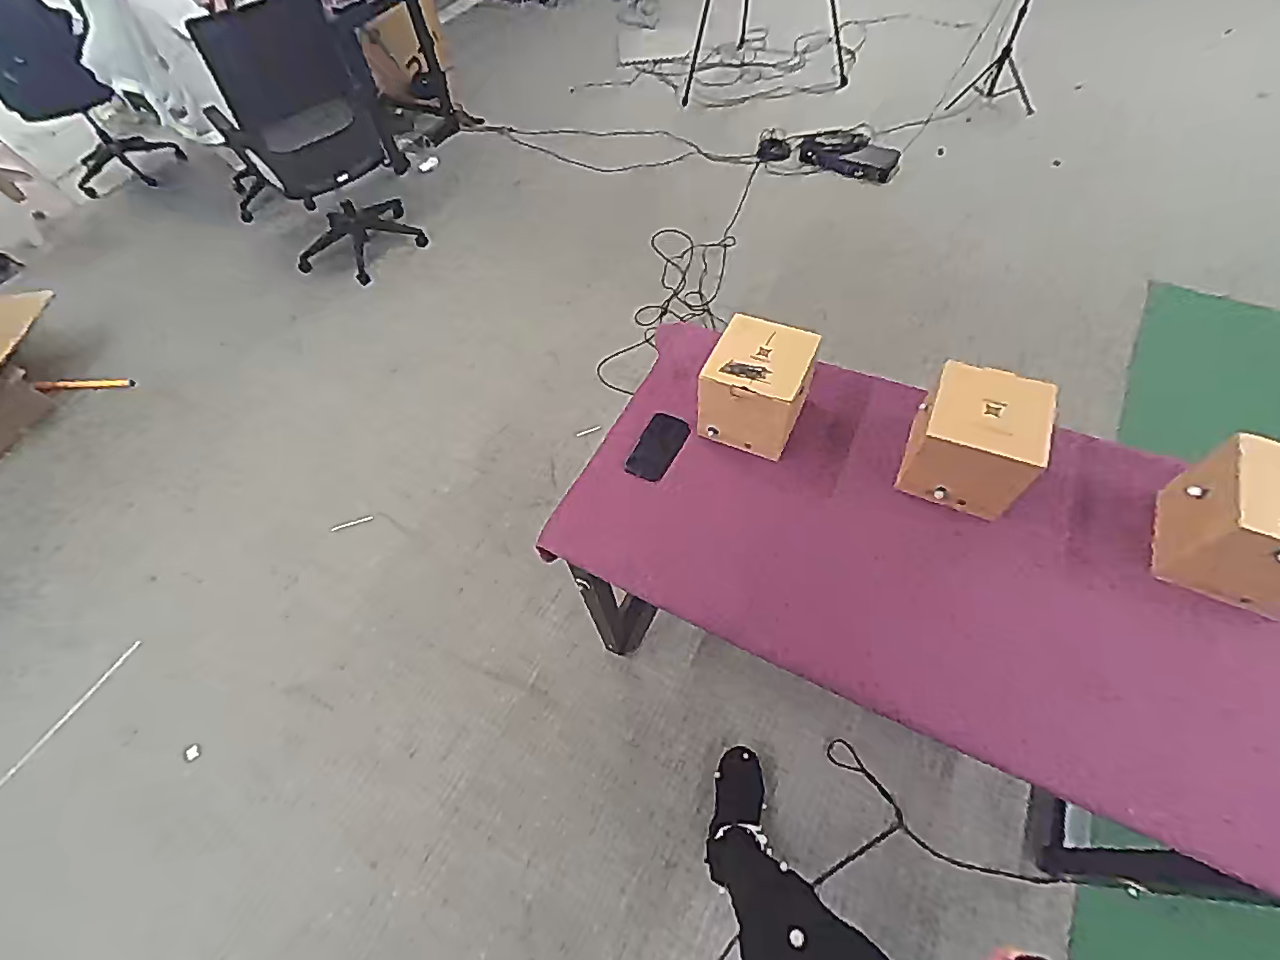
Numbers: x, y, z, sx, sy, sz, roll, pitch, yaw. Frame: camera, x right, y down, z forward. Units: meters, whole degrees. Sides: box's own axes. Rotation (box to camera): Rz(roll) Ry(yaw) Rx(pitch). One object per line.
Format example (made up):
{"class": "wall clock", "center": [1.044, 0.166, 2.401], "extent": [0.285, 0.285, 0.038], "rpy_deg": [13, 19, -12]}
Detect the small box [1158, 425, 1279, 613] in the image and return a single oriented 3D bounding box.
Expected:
{"class": "small box", "center": [0.894, 0.058, 0.772], "extent": [0.168, 0.176, 0.179], "rpy_deg": [21, 62, 20]}

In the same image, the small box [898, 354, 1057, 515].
{"class": "small box", "center": [0.550, -0.073, 0.898], "extent": [0.168, 0.176, 0.179], "rpy_deg": [20, 62, 19]}

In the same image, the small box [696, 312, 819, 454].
{"class": "small box", "center": [0.214, -0.175, 1.001], "extent": [0.168, 0.176, 0.179], "rpy_deg": [20, 61, 18]}
